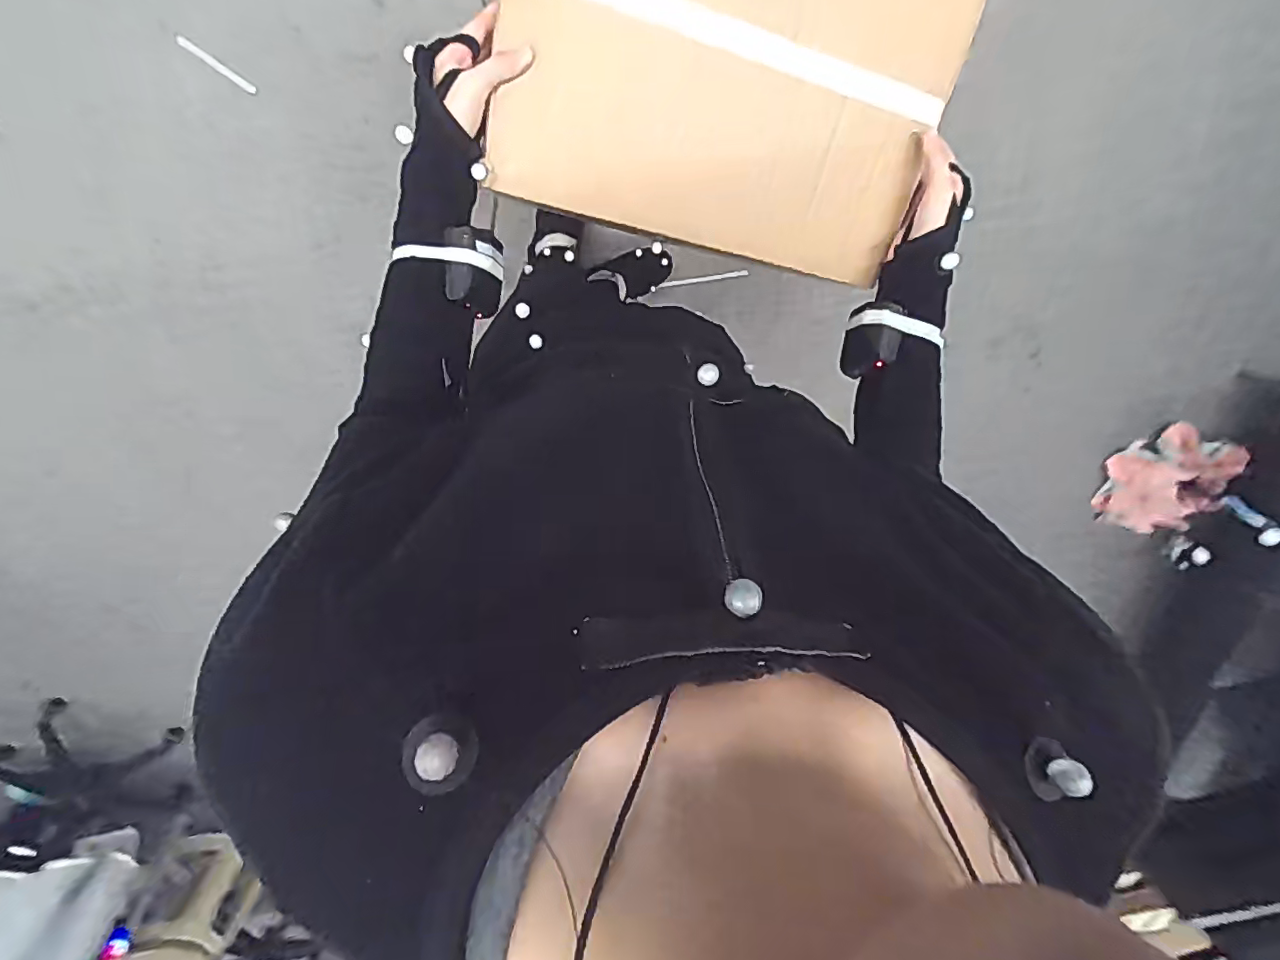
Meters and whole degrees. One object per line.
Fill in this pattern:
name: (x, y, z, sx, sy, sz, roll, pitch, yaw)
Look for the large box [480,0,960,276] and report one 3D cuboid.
large box: (0.052, -0.439, 0.601, 0.408, 0.320, 0.320, 7, 114, -14)
